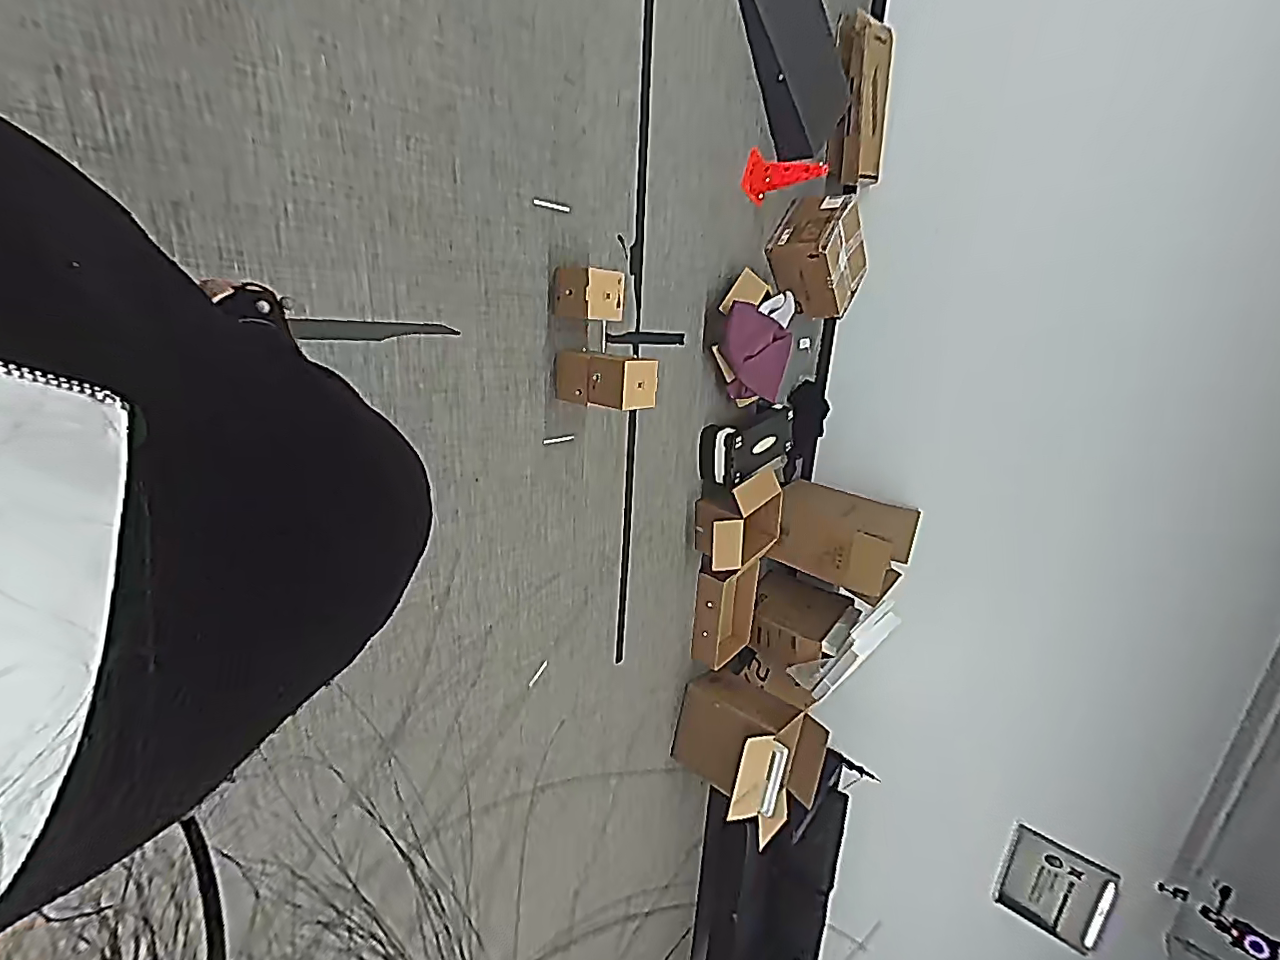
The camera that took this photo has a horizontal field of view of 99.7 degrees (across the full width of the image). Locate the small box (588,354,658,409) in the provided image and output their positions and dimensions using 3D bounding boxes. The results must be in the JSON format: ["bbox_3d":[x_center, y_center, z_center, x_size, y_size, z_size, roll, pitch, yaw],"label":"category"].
[{"bbox_3d":[-0.059,-0.347,1.881,0.179,0.176,0.168,-15,115,-46],"label":"small box"}]

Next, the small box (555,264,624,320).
[{"bbox_3d":[-0.178,-0.651,1.879,0.179,0.176,0.168,-14,114,-47],"label":"small box"}]

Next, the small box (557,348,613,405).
[{"bbox_3d":[-0.190,-0.380,1.973,0.168,0.176,0.179,-19,118,-47],"label":"small box"}]
